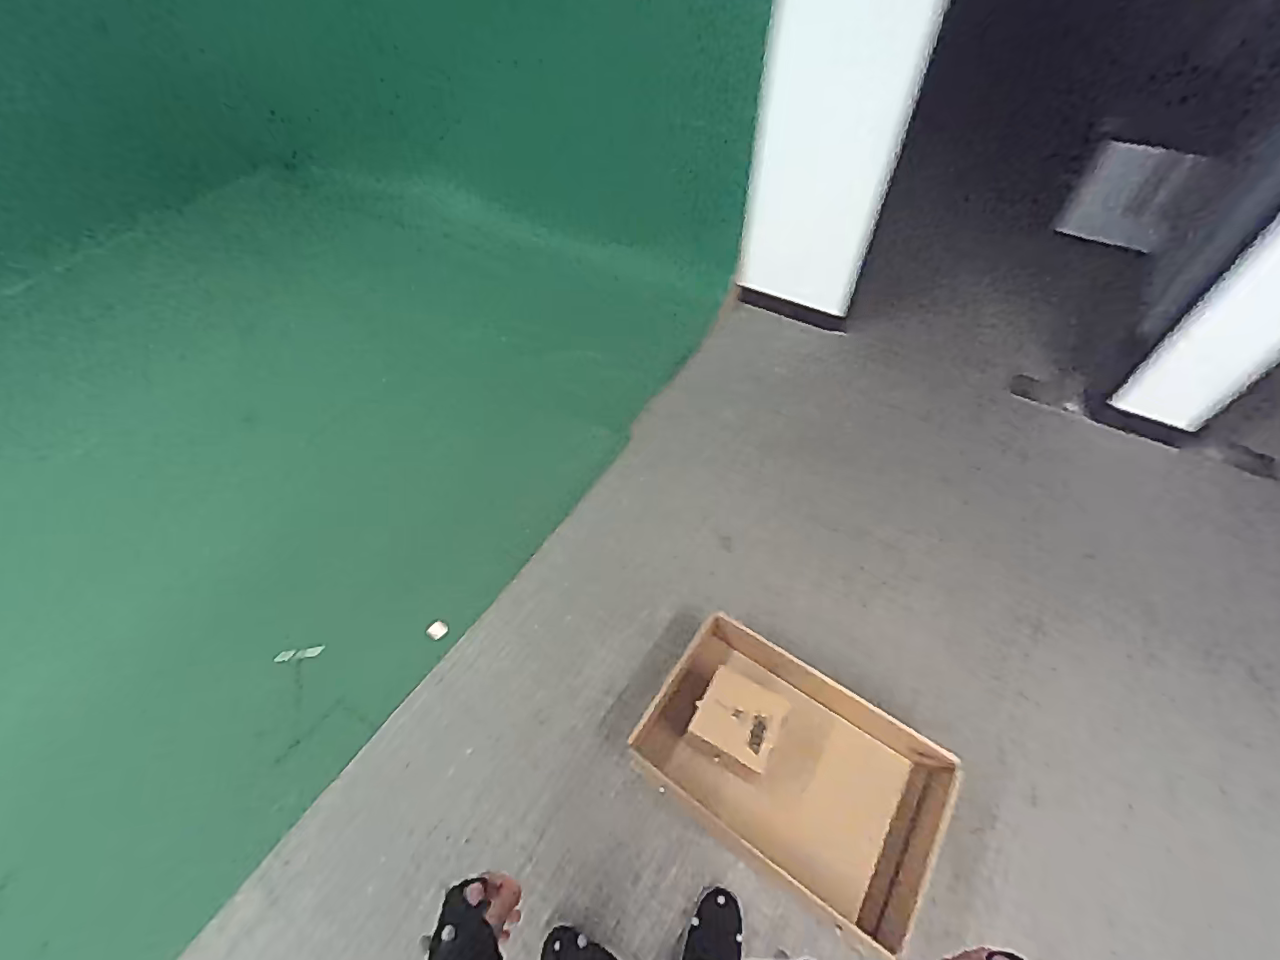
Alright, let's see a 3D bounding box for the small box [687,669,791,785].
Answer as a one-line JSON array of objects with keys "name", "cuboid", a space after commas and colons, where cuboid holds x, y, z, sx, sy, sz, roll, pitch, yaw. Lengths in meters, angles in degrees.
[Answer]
[{"name": "small box", "cuboid": [0.224, 0.571, 1.241, 0.179, 0.176, 0.168, 24, 58, 23]}]
